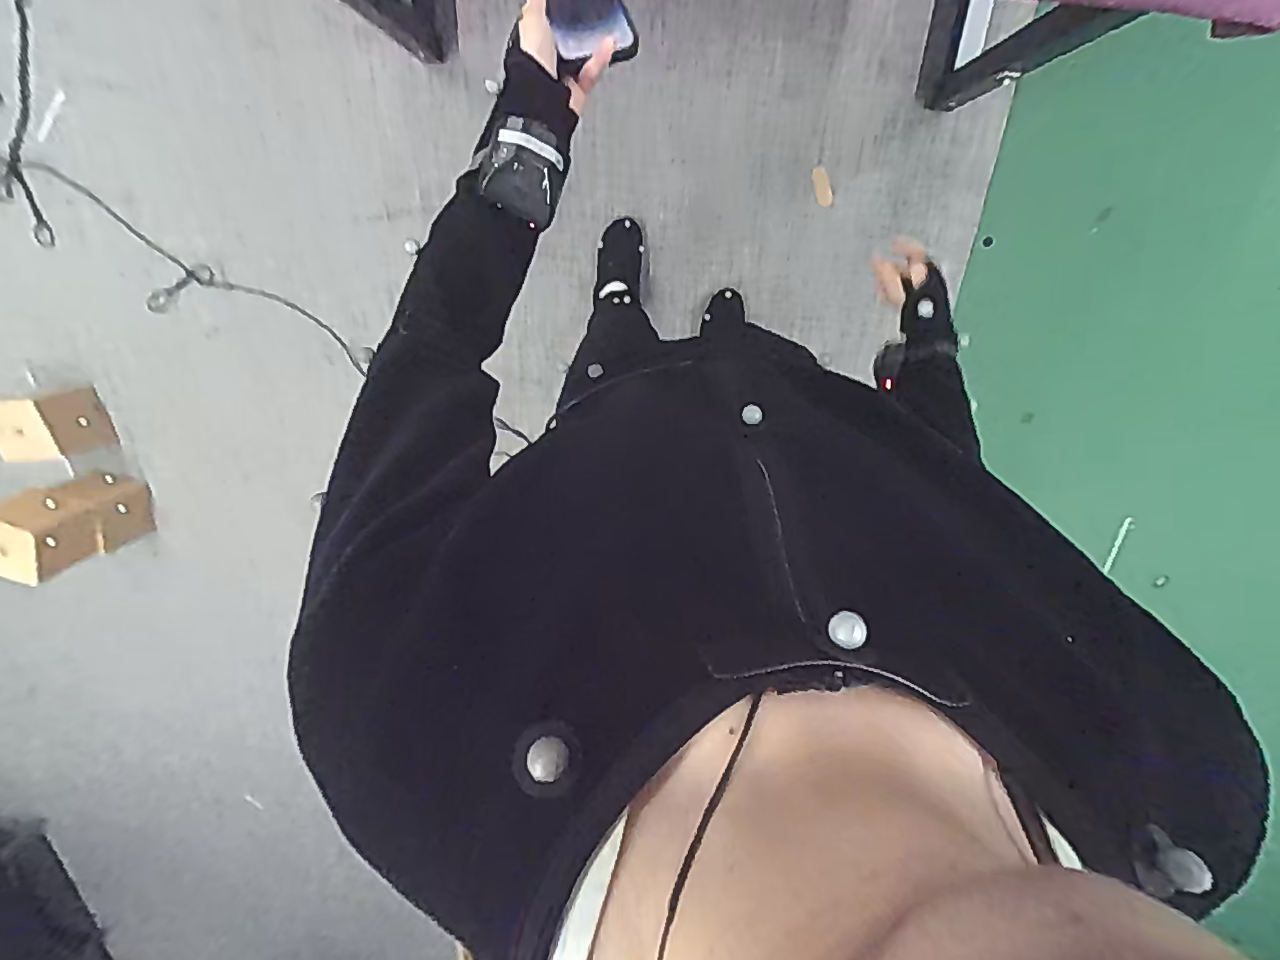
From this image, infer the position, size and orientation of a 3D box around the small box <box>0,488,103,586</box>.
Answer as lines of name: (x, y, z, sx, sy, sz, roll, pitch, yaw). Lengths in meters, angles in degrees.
small box: (-1.620, 0.150, 1.469, 0.168, 0.176, 0.179, 19, 112, -5)

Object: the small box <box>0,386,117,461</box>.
small box: (-1.628, -0.161, 1.509, 0.179, 0.176, 0.168, -3, 113, 5)
